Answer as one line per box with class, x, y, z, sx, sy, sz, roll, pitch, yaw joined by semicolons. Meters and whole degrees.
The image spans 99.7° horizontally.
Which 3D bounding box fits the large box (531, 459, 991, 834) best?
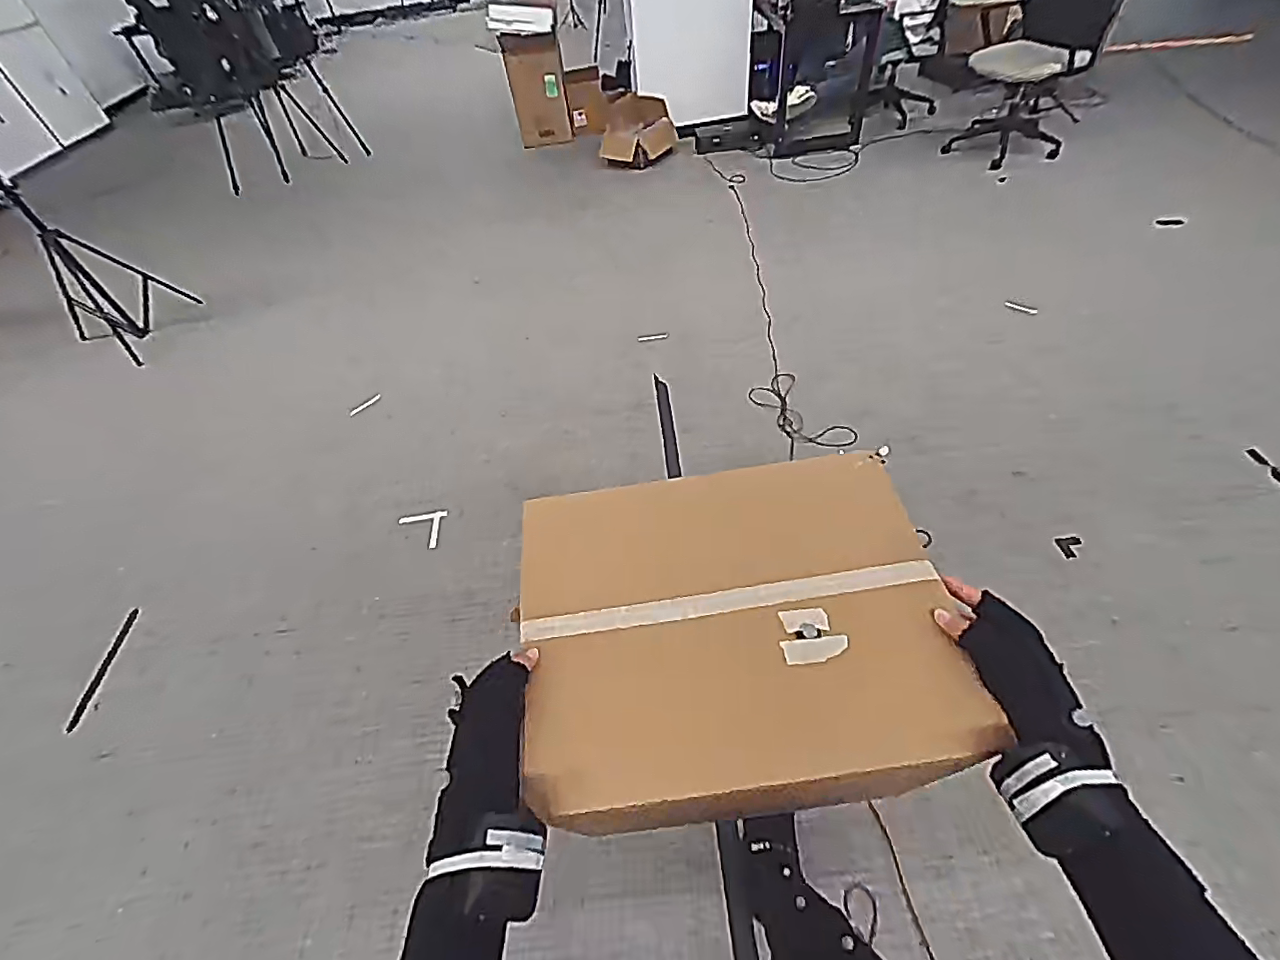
large box;0.099;0.214;0.665;0.408;0.320;0.320;-9;54;0
